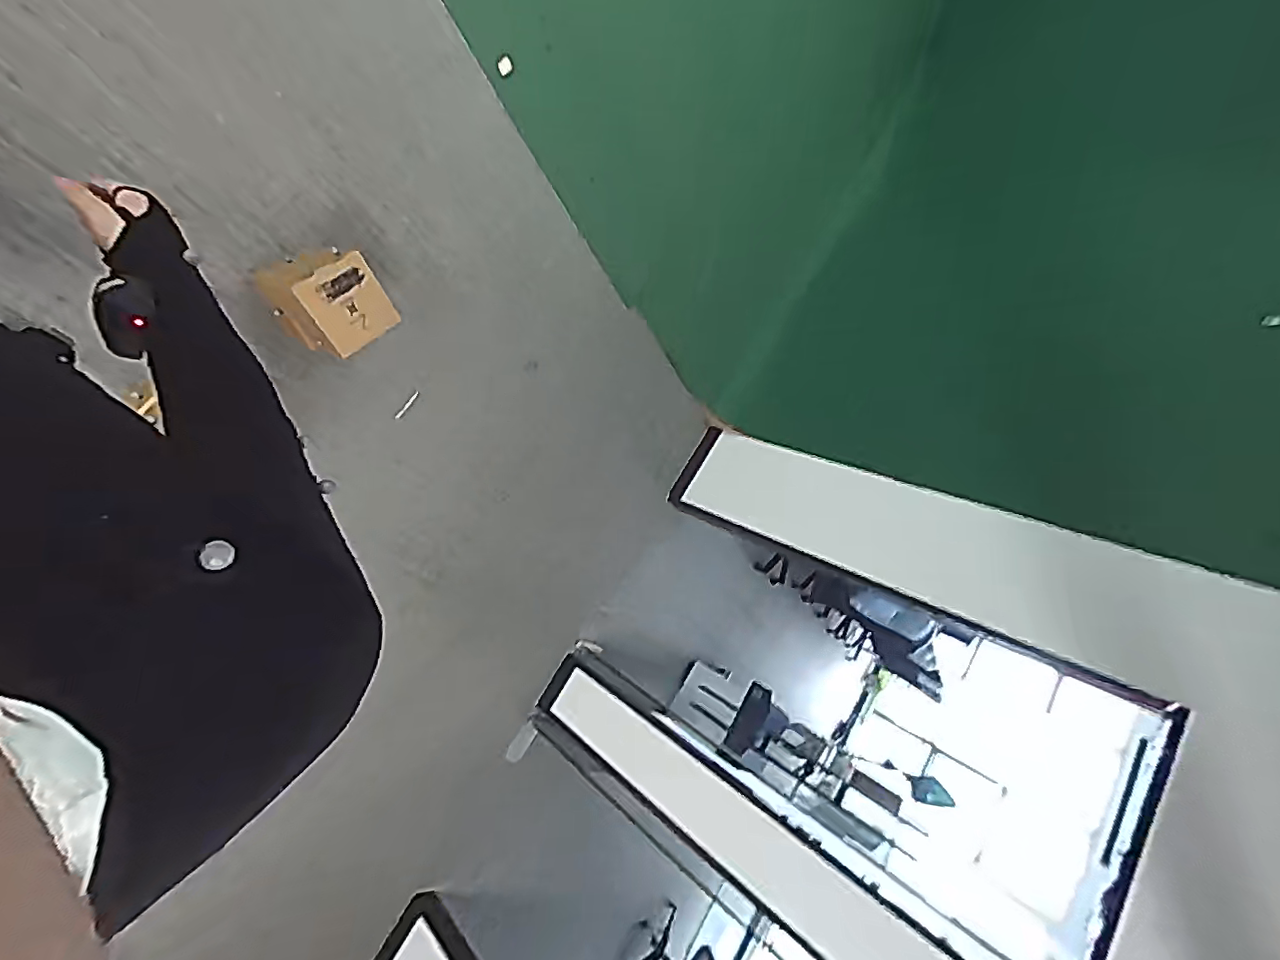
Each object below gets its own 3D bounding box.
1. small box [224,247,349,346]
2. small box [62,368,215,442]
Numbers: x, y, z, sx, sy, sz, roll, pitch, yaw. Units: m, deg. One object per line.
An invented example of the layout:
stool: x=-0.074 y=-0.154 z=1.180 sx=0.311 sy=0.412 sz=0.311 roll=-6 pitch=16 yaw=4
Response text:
small box: x=-0.851 y=-0.448 z=1.301 sx=0.168 sy=0.176 sz=0.179 roll=-41 pitch=137 yaw=-30
small box: x=-1.093 y=-0.125 z=1.178 sx=0.168 sy=0.176 sz=0.179 roll=-55 pitch=143 yaw=-15
